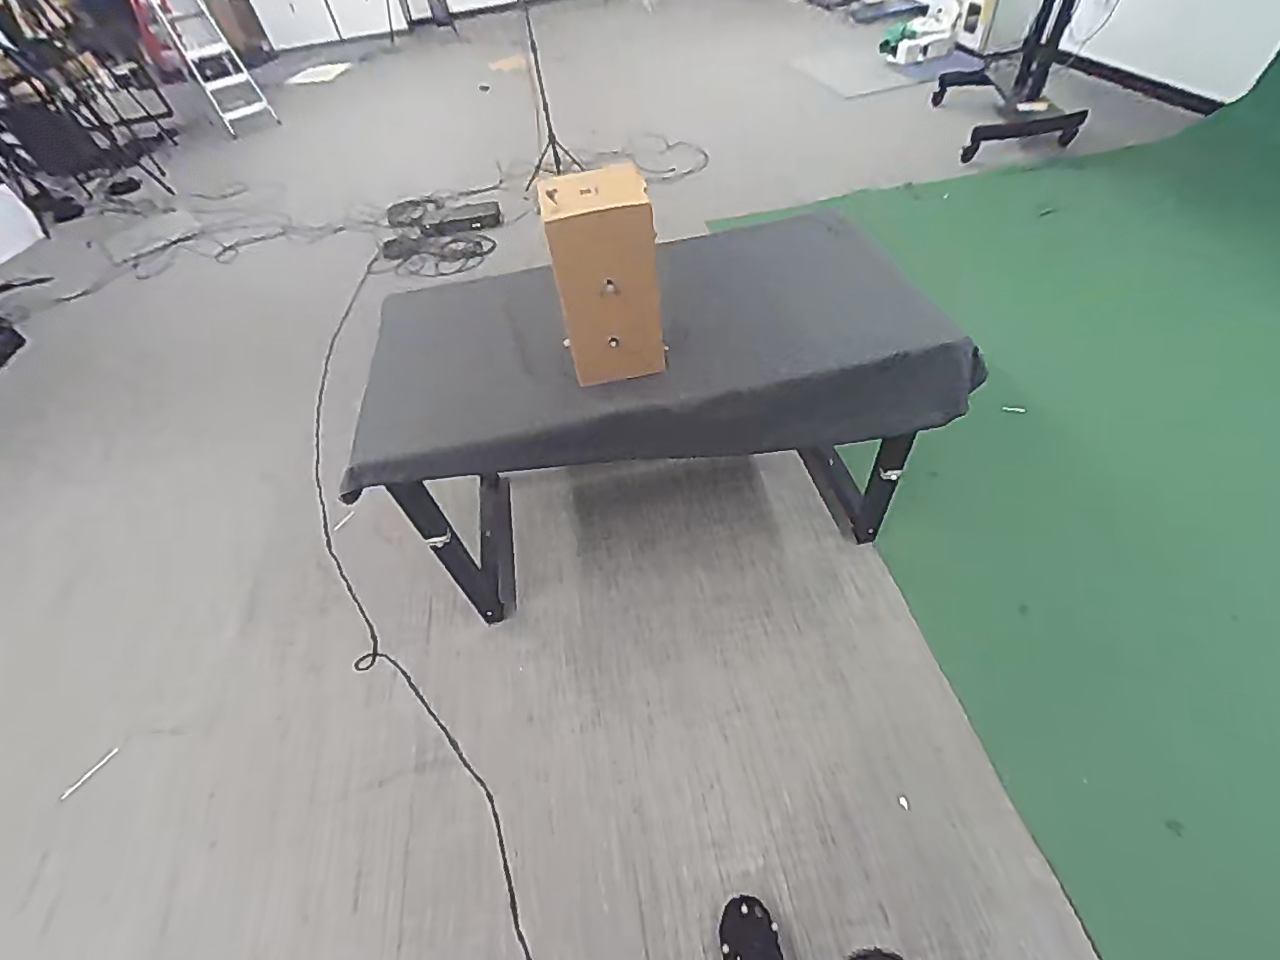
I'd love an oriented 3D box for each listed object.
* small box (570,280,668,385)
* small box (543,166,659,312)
[{"bbox_3d":[-0.045,-0.314,1.075,0.179,0.176,0.168,-13,50,-4],"label":"small box"},{"bbox_3d":[-0.065,-0.421,0.953,0.179,0.176,0.168,-11,50,-2],"label":"small box"}]
